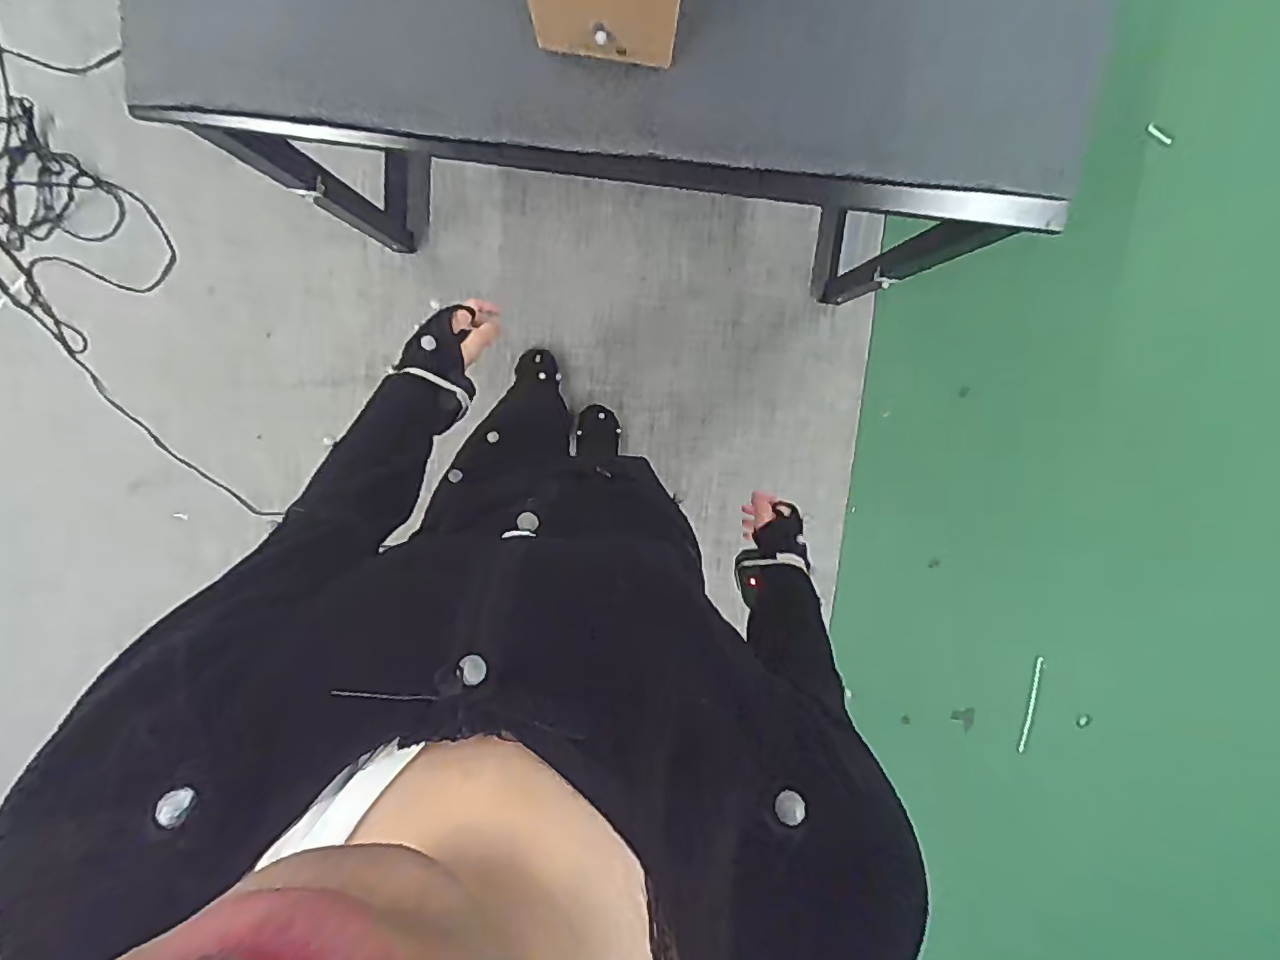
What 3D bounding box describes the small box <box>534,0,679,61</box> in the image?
[{"bbox_3d":[-0.030,-0.595,0.567,0.168,0.176,0.179,7,98,-3],"label":"small box"}]
